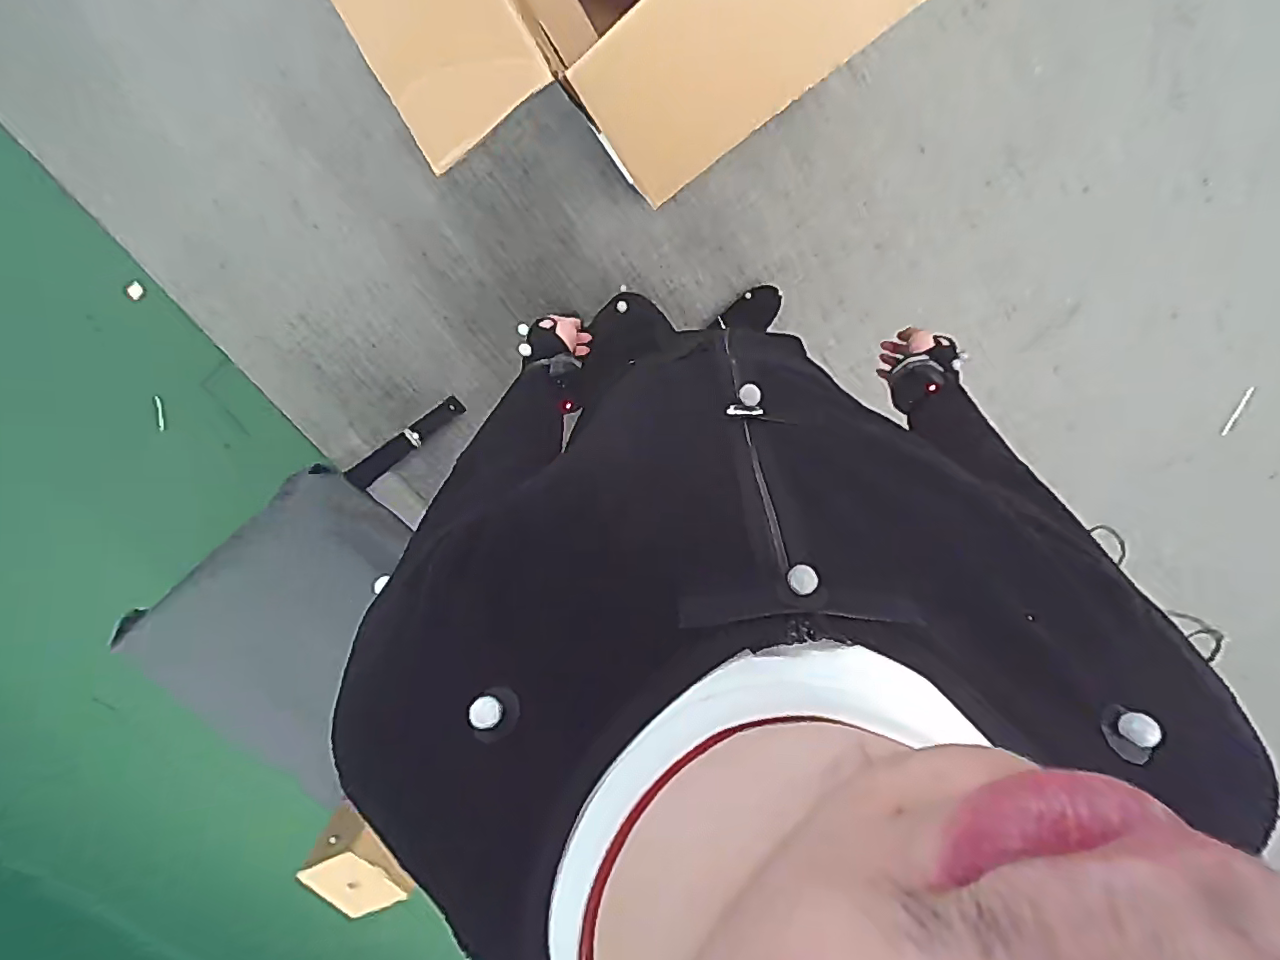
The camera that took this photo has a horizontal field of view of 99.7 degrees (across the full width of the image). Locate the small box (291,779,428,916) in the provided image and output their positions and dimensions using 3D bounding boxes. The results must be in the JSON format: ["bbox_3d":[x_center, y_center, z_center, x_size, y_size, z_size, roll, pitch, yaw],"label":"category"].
[{"bbox_3d":[-0.587,0.785,1.166,0.179,0.176,0.168,-31,108,17],"label":"small box"}]

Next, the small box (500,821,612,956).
[{"bbox_3d":[-0.176,0.902,1.203,0.179,0.176,0.168,-31,108,18],"label":"small box"}]
